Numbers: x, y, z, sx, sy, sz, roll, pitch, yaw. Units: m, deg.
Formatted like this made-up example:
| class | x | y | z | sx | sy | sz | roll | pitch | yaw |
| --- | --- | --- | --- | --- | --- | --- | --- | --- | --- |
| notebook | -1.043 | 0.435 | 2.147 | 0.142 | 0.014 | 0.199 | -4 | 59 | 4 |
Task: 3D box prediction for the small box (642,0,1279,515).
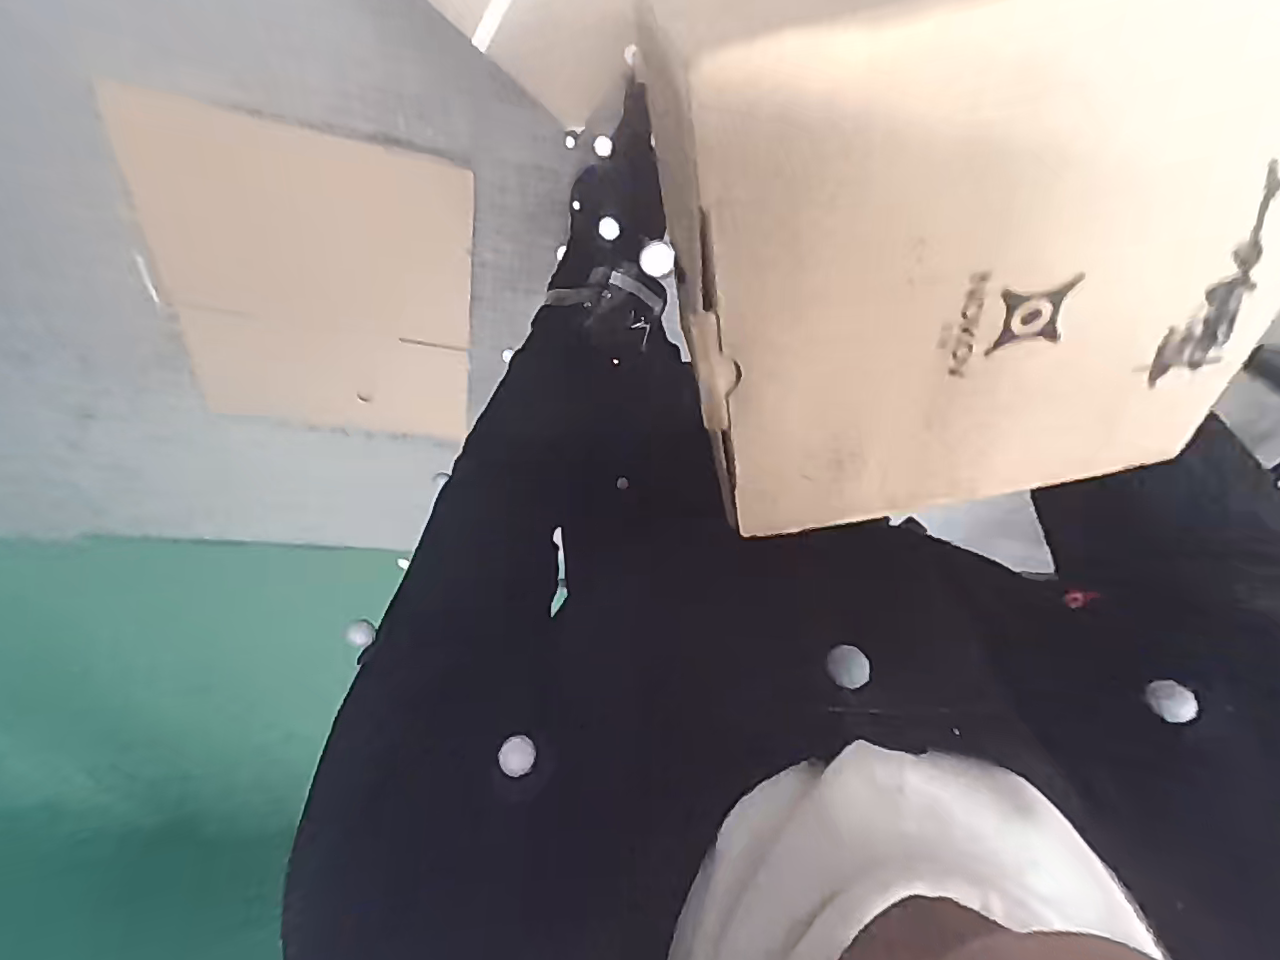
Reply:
| class | x | y | z | sx | sy | sz | roll | pitch | yaw |
| --- | --- | --- | --- | --- | --- | --- | --- | --- | --- |
| small box | 0.100 | -0.114 | 0.222 | 0.179 | 0.176 | 0.168 | -12 | 133 | 7 |
